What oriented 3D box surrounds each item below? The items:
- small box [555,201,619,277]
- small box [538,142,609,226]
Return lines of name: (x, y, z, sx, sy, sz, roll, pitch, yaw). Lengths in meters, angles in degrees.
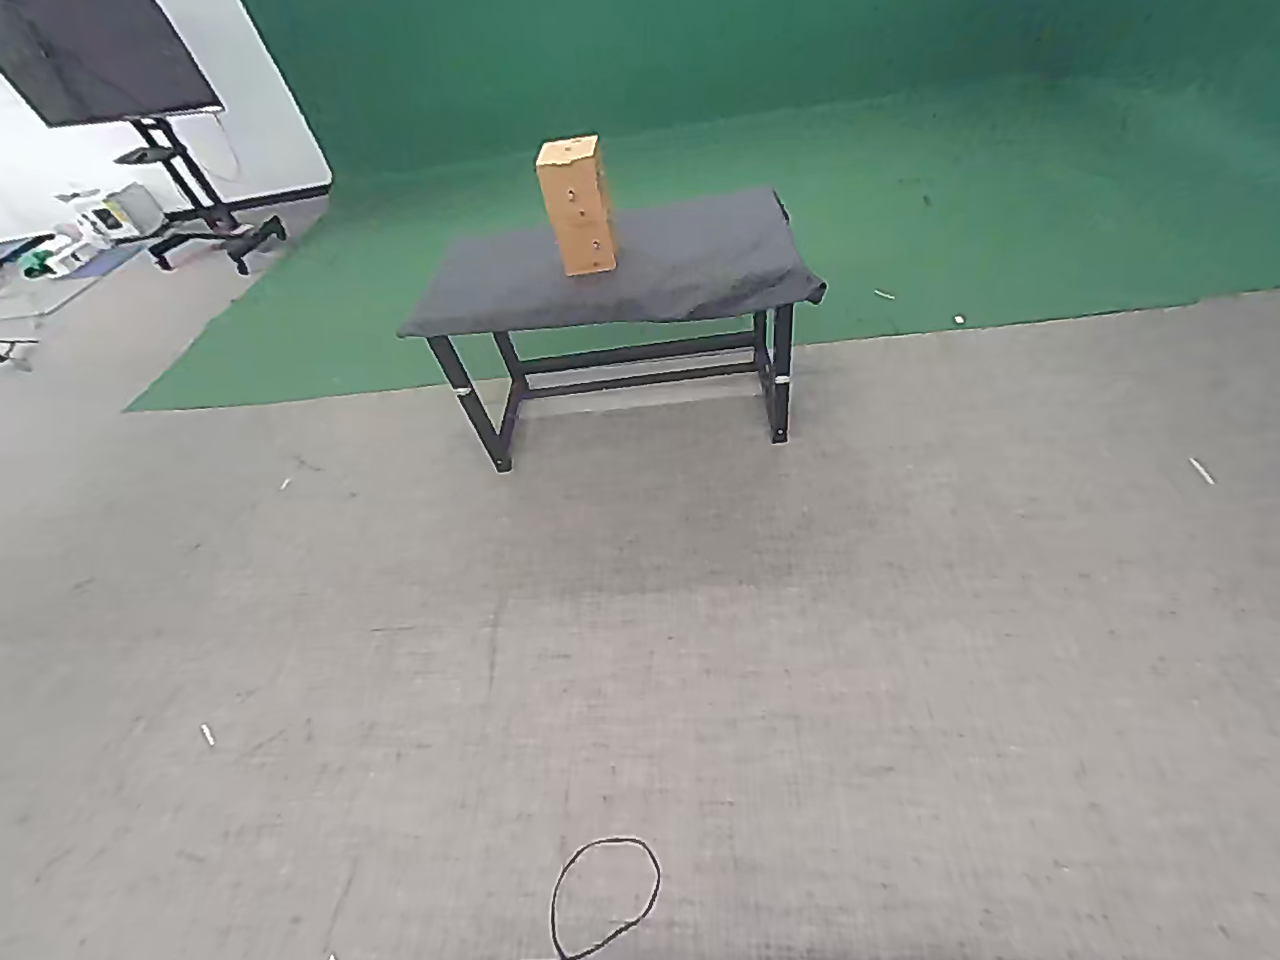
small box: (-0.164, -0.765, 1.732, 0.168, 0.176, 0.179, -5, 47, 6)
small box: (-0.191, -0.875, 1.615, 0.168, 0.176, 0.179, -4, 50, 7)
